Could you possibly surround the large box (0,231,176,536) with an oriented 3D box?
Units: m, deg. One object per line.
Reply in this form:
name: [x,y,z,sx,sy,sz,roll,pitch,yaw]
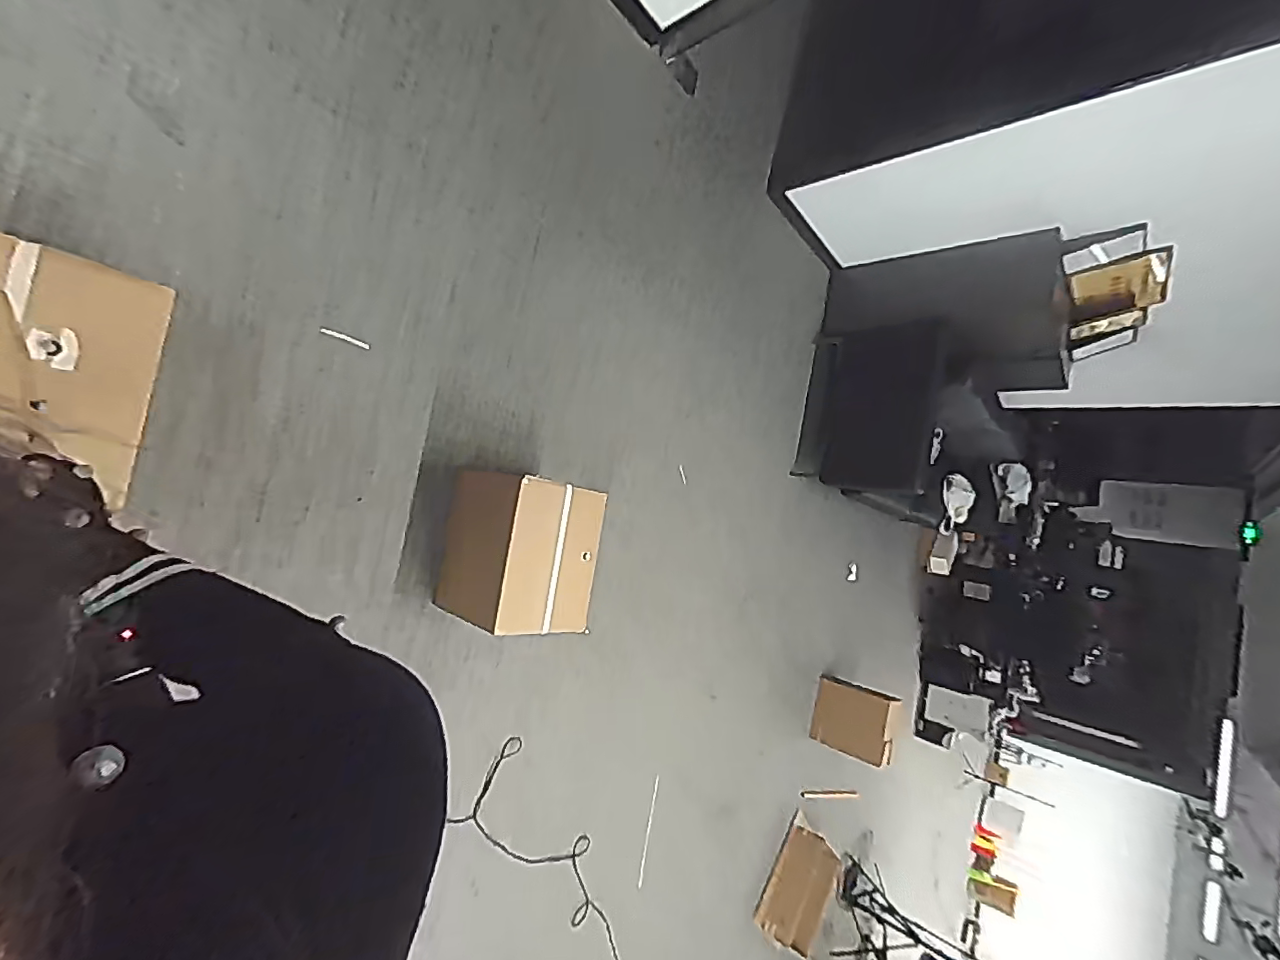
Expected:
large box: [-0.970,-0.140,0.830,0.320,0.320,0.408,15,83,-47]
